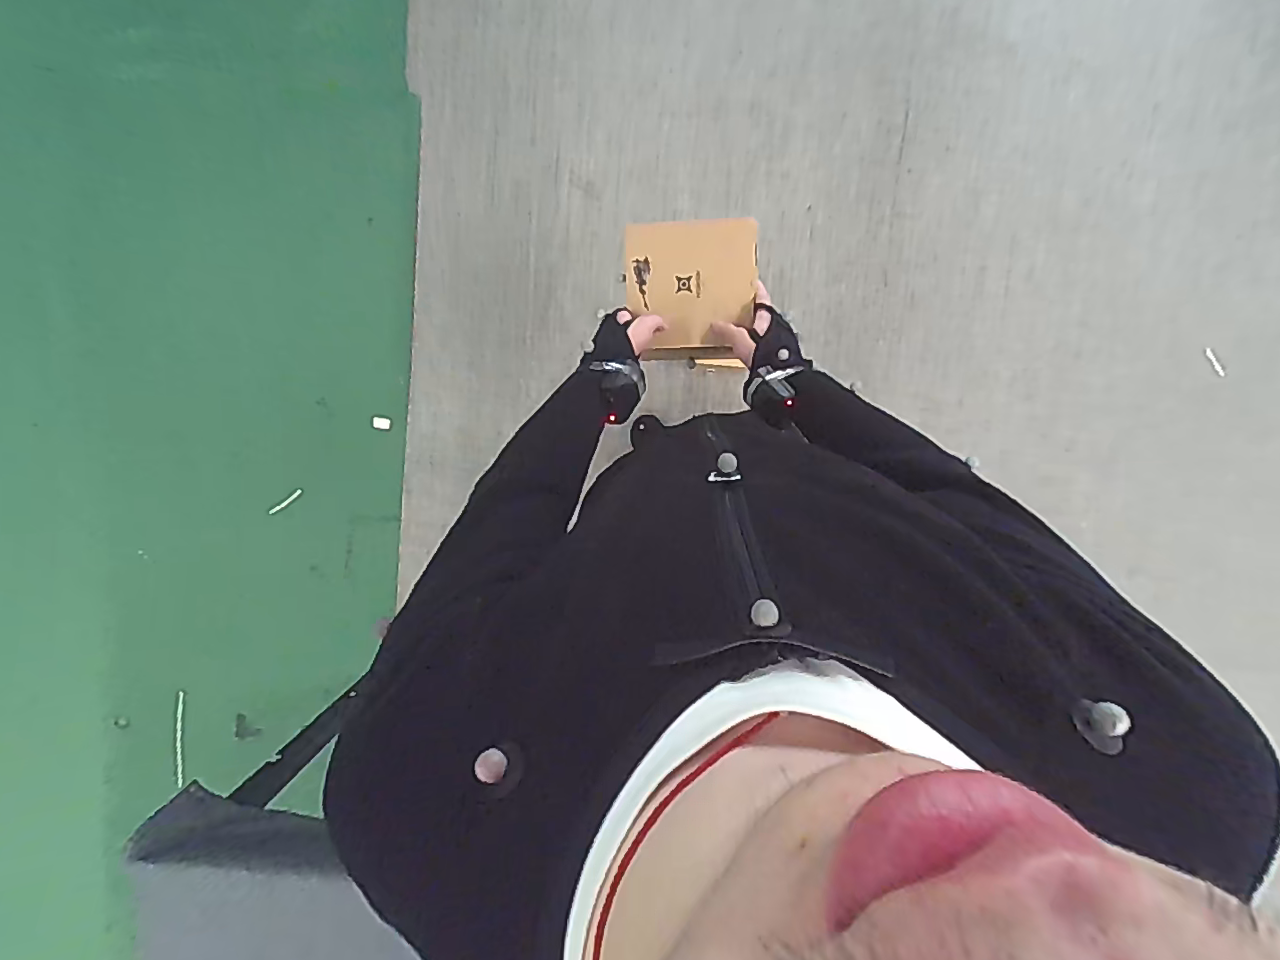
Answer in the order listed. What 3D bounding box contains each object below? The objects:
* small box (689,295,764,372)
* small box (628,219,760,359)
[{"bbox_3d":[0.221,-0.393,1.438,0.168,0.176,0.179,8,96,2],"label":"small box"},{"bbox_3d":[0.075,-0.271,0.799,0.179,0.176,0.168,0,97,4],"label":"small box"}]
